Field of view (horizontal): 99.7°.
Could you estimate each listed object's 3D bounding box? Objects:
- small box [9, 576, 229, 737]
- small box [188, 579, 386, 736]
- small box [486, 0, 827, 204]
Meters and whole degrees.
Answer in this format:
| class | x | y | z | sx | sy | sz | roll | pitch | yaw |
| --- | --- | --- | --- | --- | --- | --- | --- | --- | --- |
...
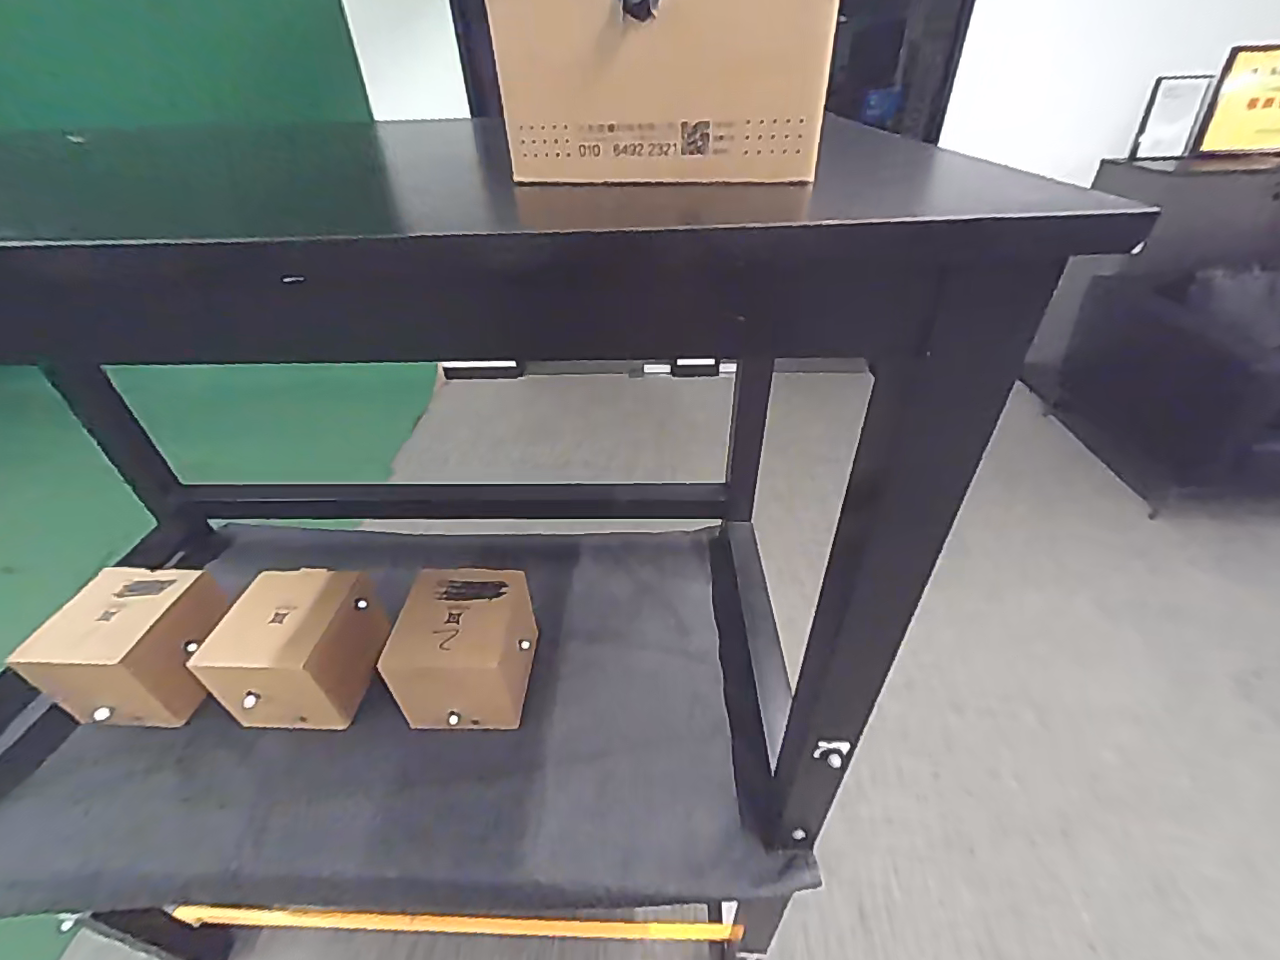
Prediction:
| class | x | y | z | sx | sy | sz | roll | pitch | yaw |
| --- | --- | --- | --- | --- | --- | --- | --- | --- | --- |
| small box | -0.776 | 0.273 | 0.847 | 0.168 | 0.176 | 0.179 | 0 | 38 | 3 |
| small box | -0.524 | 0.275 | 0.838 | 0.168 | 0.176 | 0.179 | 0 | 37 | 3 |
| small box | 0.021 | -0.267 | 0.315 | 0.168 | 0.176 | 0.179 | 7 | 38 | 11 |
